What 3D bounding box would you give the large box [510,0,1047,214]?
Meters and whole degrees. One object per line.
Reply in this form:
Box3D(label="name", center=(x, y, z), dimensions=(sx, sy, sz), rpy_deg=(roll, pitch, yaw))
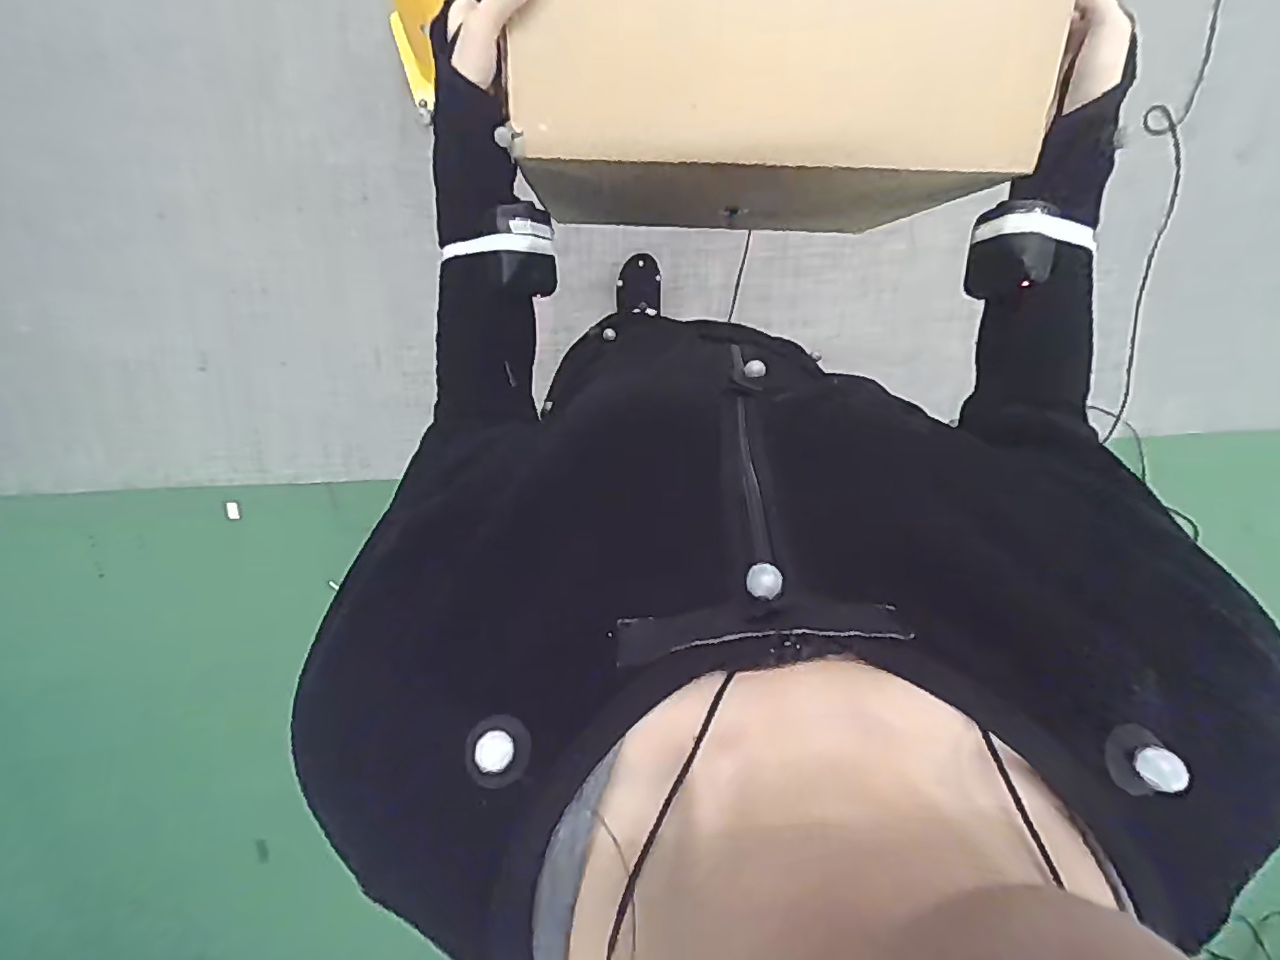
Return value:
Box3D(label="large box", center=(0.103, -0.446, 0.520), dimensions=(0.408, 0.320, 0.320), rpy_deg=(1, 107, -2))
